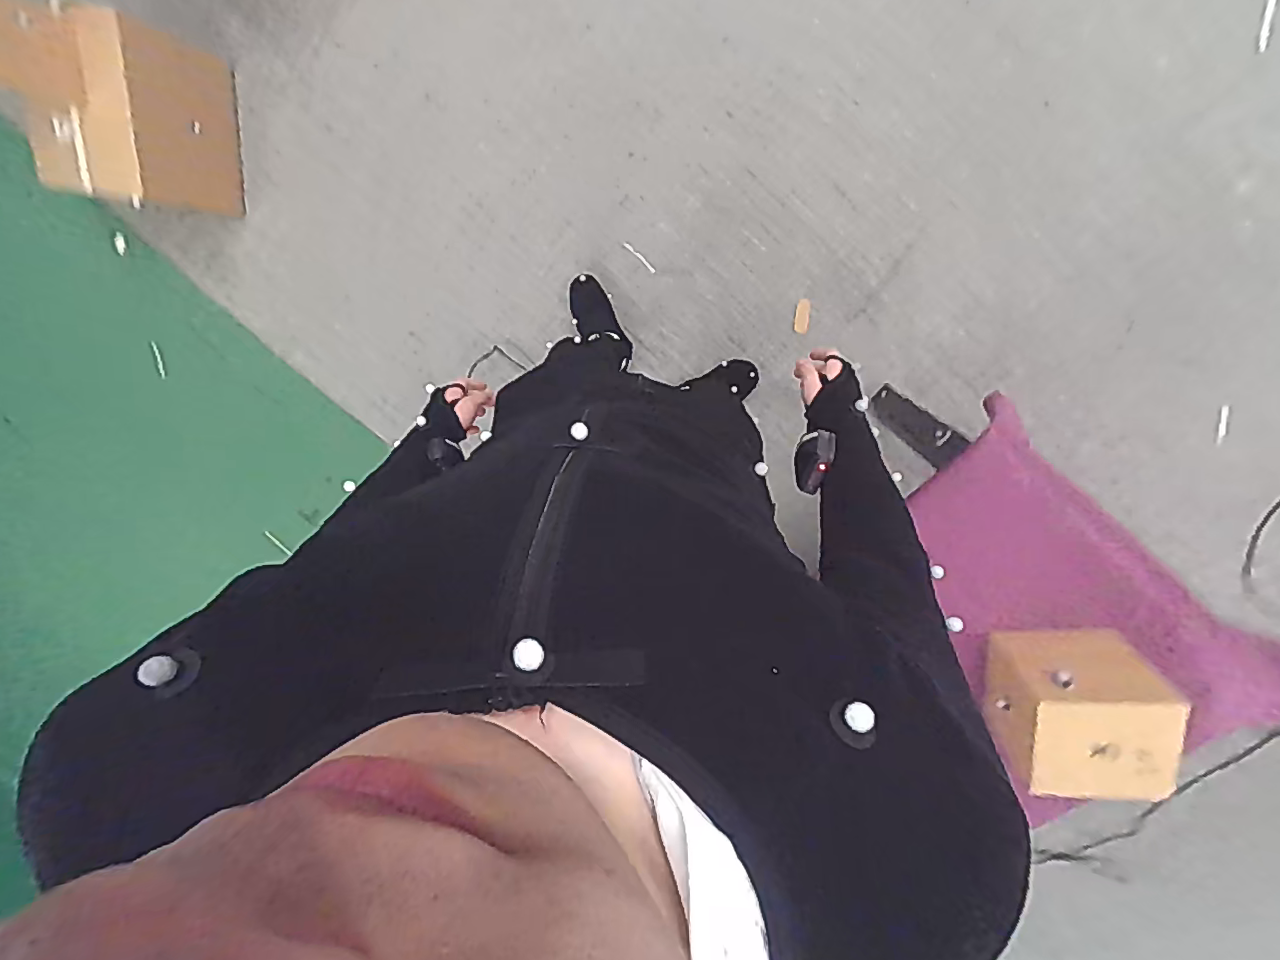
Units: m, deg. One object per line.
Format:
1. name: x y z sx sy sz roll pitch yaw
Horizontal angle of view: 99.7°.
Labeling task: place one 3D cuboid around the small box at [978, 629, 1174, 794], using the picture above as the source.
1. small box: 0.647 0.345 0.831 0.179 0.176 0.168 -4 109 12

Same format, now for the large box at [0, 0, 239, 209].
1. large box: -1.342 -0.975 1.428 0.320 0.320 0.408 12 112 7
